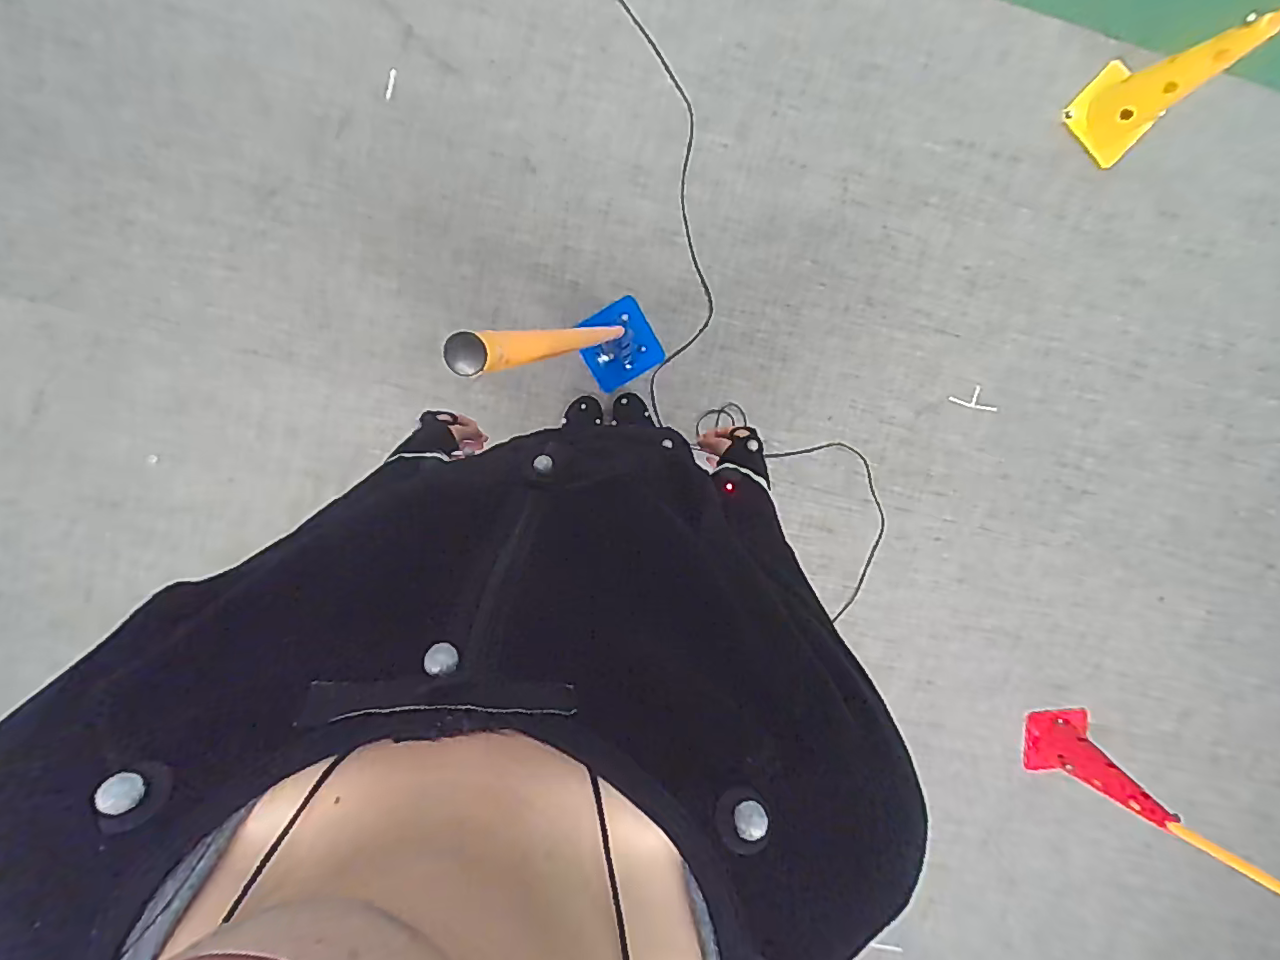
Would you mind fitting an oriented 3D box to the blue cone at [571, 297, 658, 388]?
[{"bbox_3d":[-0.058,-0.328,1.267,0.193,0.380,0.192,-31,100,3],"label":"blue cone"}]
